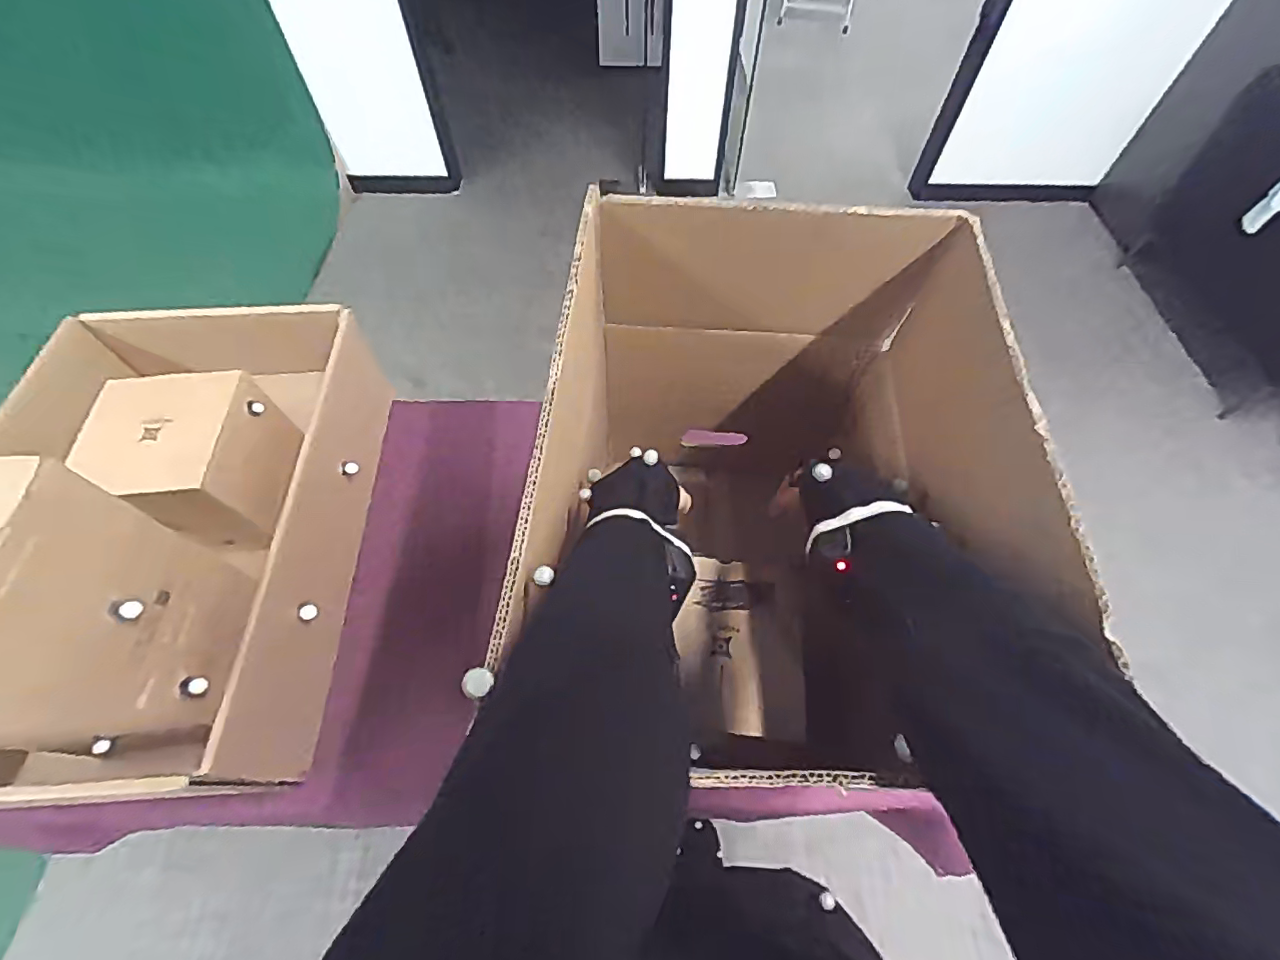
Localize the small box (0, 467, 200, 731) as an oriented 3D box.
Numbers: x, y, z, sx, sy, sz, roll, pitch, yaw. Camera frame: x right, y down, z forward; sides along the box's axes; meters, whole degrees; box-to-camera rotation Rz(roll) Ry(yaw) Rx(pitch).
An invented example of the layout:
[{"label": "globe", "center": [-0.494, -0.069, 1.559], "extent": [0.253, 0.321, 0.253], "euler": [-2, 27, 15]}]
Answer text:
[{"label": "small box", "center": [-0.527, 0.105, 0.439], "extent": [0.179, 0.176, 0.168], "euler": [-3, 59, -1]}]

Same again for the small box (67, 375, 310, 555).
[{"label": "small box", "center": [-0.567, -0.010, 0.704], "extent": [0.168, 0.176, 0.179], "euler": [-5, 59, -2]}]
